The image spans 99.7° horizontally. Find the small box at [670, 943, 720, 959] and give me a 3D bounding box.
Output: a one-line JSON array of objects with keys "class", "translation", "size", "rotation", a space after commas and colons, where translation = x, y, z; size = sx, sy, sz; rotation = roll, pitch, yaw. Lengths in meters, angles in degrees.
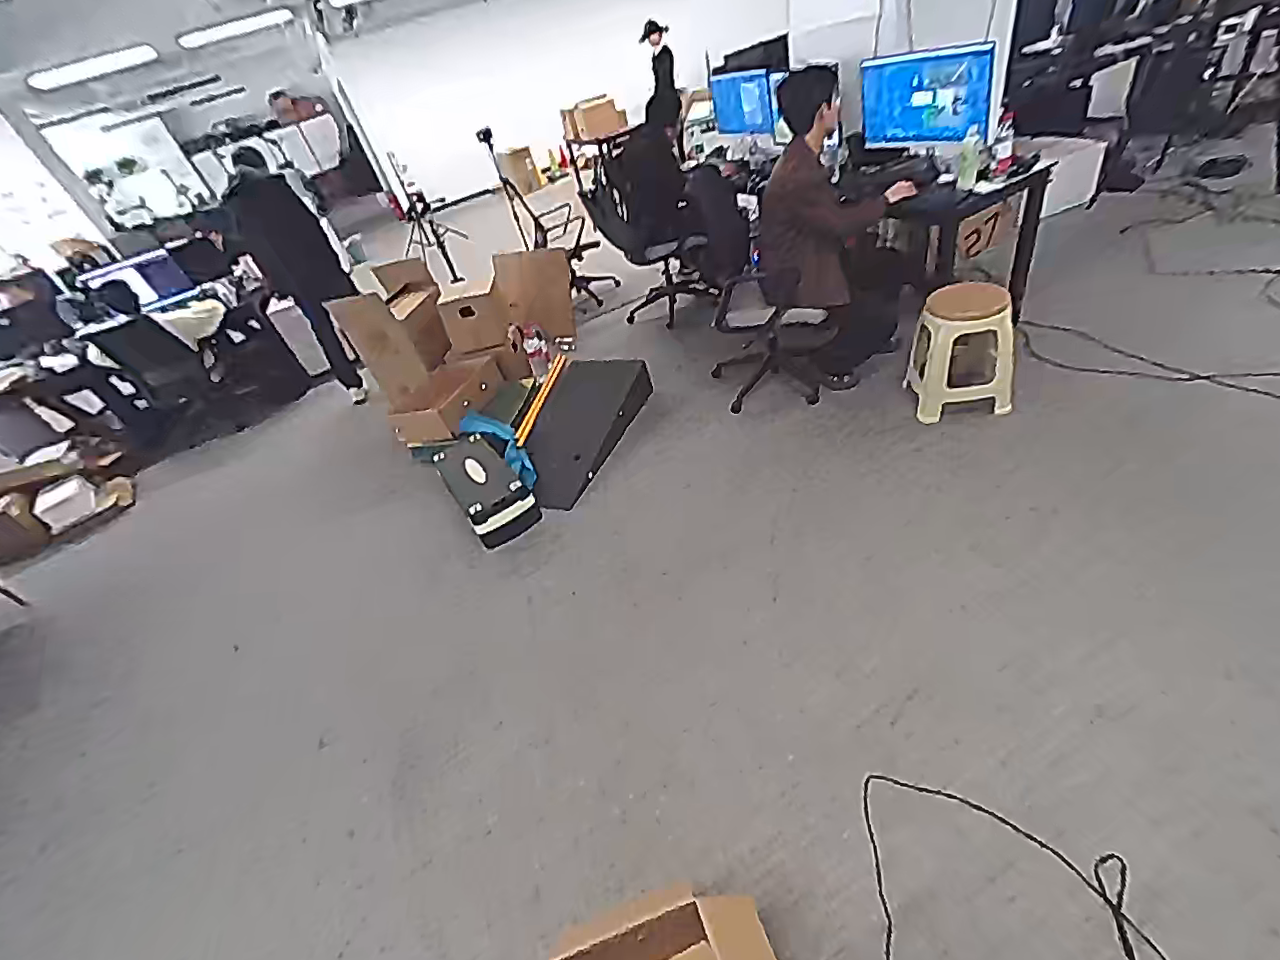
[{"class": "small box", "translation": [0.035, 0.653, 0.579], "size": [0.168, 0.176, 0.179], "rotation": [-45, 47, 3]}]
